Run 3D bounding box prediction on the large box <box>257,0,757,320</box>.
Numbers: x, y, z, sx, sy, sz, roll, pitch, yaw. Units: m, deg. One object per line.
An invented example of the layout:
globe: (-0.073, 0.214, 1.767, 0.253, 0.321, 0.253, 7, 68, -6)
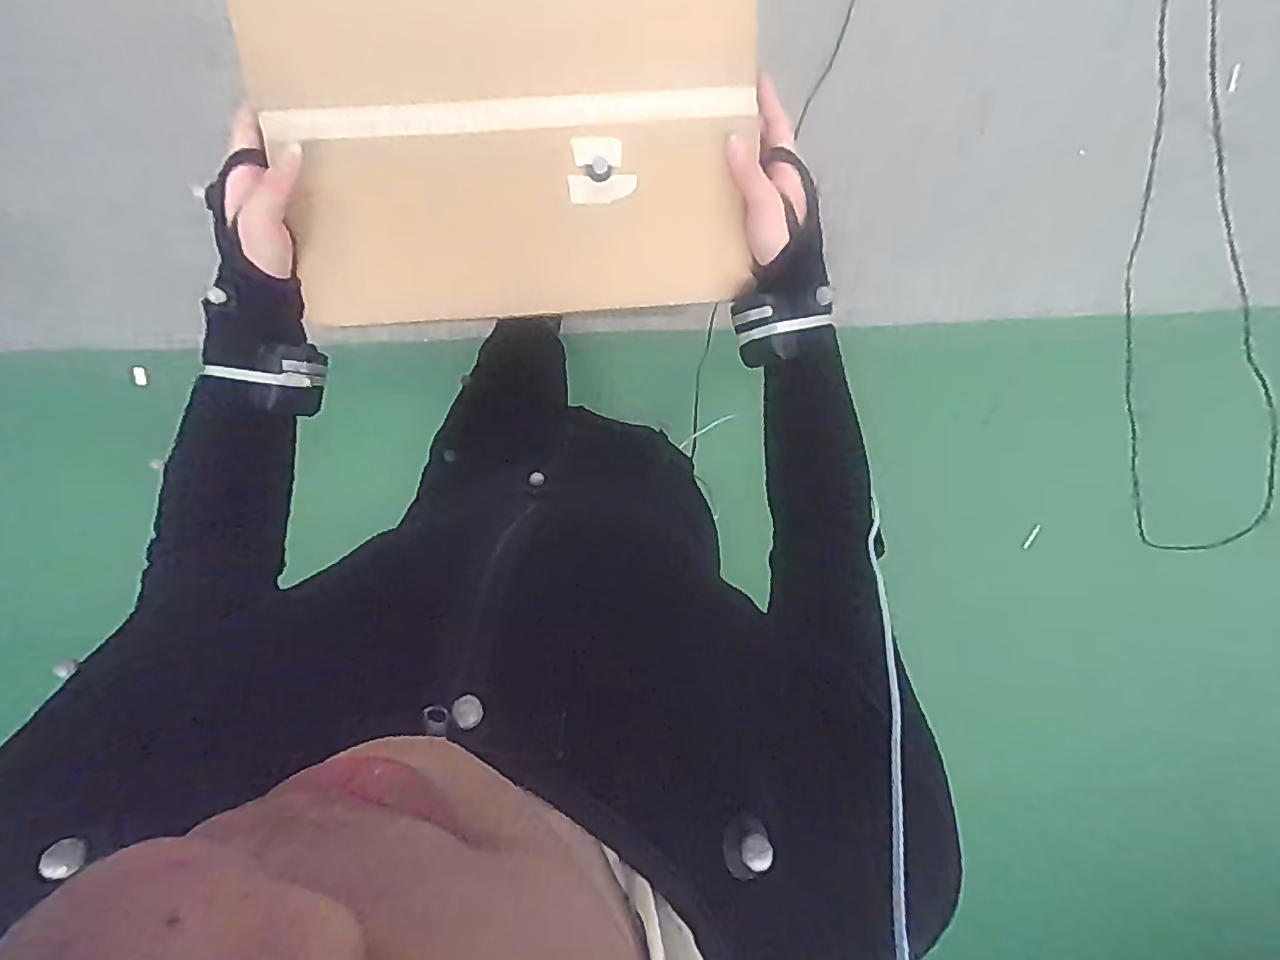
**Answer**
large box: (-0.111, -0.354, 0.601, 0.408, 0.320, 0.320, -5, 108, -3)
